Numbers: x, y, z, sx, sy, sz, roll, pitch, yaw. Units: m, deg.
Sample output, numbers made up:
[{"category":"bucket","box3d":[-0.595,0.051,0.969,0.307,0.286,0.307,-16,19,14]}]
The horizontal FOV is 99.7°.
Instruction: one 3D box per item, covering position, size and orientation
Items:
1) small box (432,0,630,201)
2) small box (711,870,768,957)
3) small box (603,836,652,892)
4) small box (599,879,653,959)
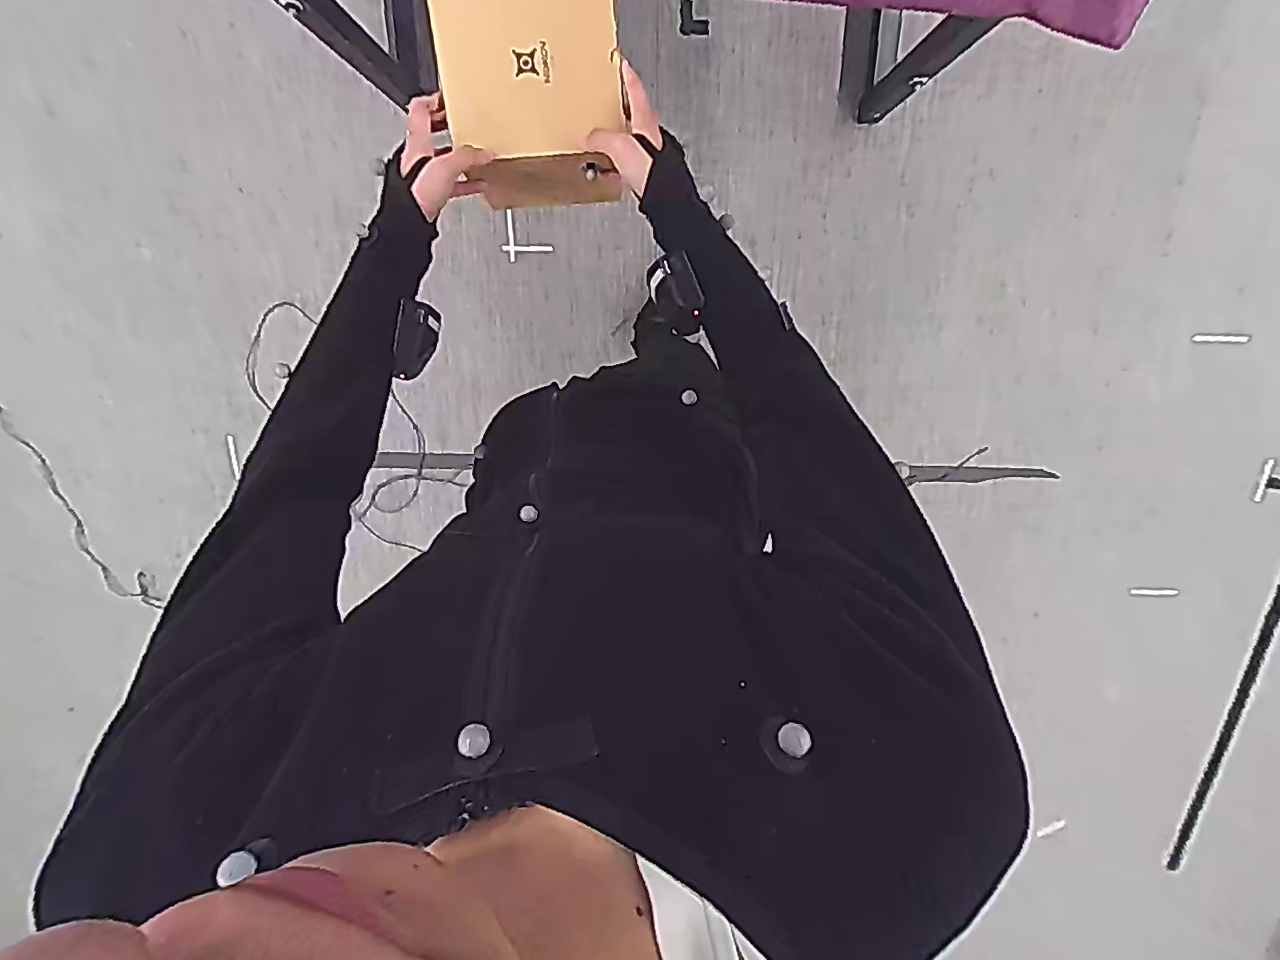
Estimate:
[{"category":"small box","box3d":[-0.109,-0.419,0.591,0.179,0.176,0.168,-7,103,-5]},{"category":"small box","box3d":[0.342,1.498,1.873,0.168,0.176,0.179,-4,107,0]},{"category":"small box","box3d":[-0.049,1.475,2.033,0.179,0.176,0.168,2,107,0]},{"category":"small box","box3d":[-0.047,1.525,1.876,0.179,0.176,0.168,3,108,0]}]
